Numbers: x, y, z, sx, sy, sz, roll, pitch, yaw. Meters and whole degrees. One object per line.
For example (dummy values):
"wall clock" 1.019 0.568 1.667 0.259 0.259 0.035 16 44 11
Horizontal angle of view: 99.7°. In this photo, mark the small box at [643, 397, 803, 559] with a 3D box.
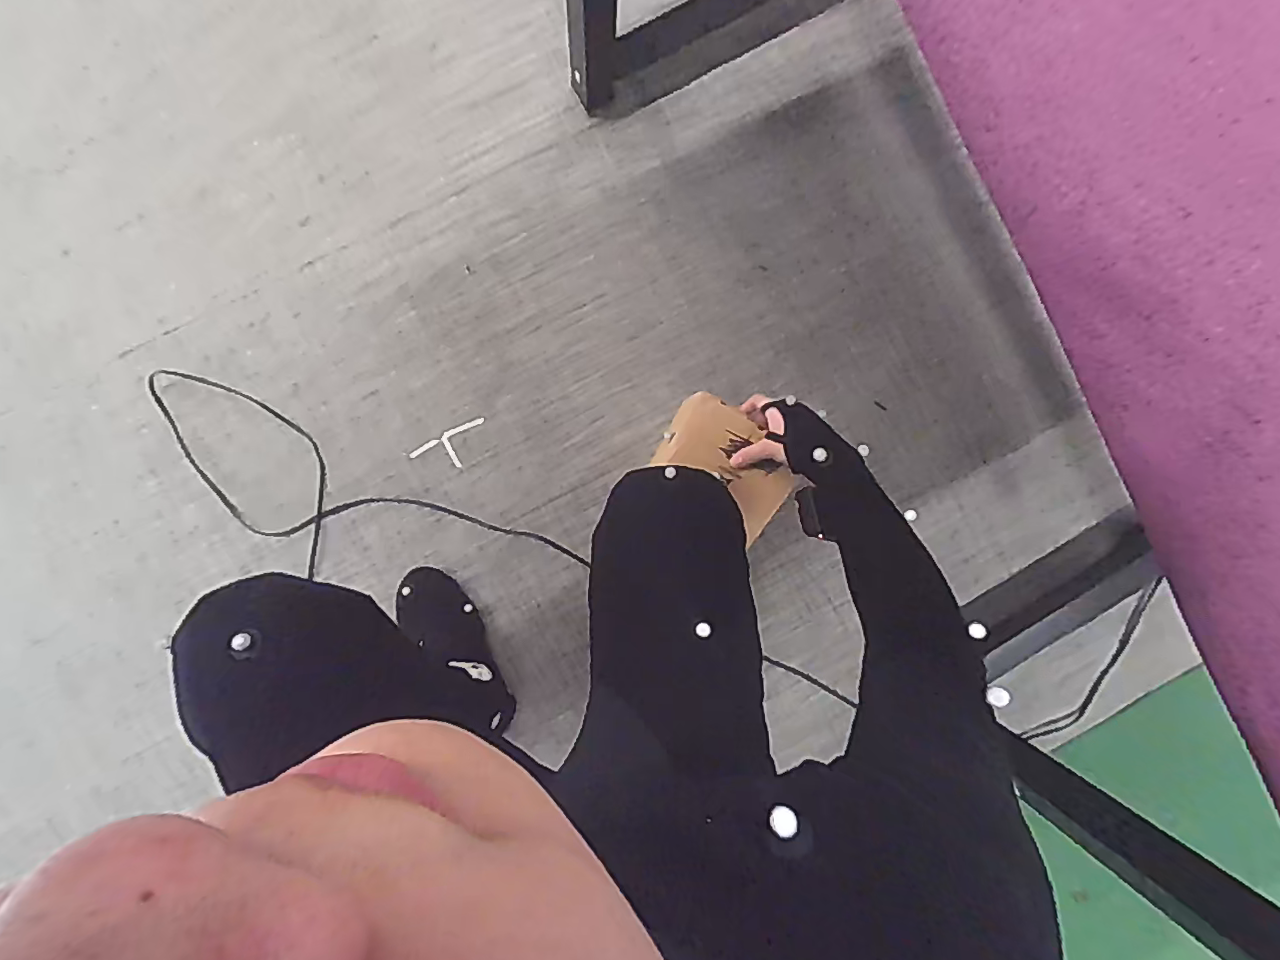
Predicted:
"small box" 0.112 -0.005 0.826 0.168 0.176 0.179 28 91 -4
